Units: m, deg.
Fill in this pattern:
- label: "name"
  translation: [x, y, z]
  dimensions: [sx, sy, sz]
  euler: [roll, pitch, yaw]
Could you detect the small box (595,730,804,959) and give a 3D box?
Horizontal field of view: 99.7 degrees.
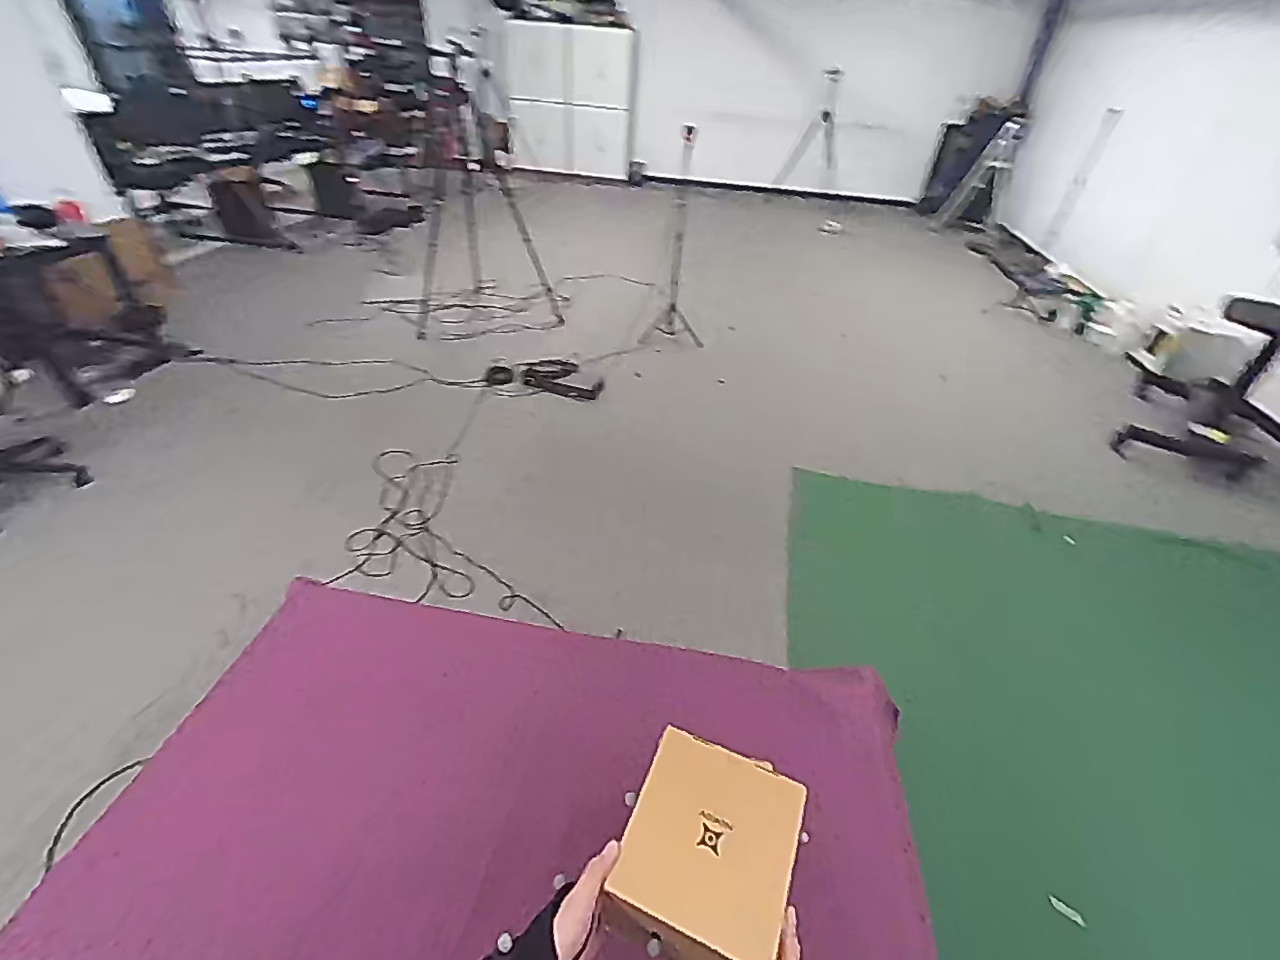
- label: "small box"
  translation: [0.064, 0.421, 0.588]
  dimensions: [0.168, 0.176, 0.179]
  euler: [18, 41, 17]
